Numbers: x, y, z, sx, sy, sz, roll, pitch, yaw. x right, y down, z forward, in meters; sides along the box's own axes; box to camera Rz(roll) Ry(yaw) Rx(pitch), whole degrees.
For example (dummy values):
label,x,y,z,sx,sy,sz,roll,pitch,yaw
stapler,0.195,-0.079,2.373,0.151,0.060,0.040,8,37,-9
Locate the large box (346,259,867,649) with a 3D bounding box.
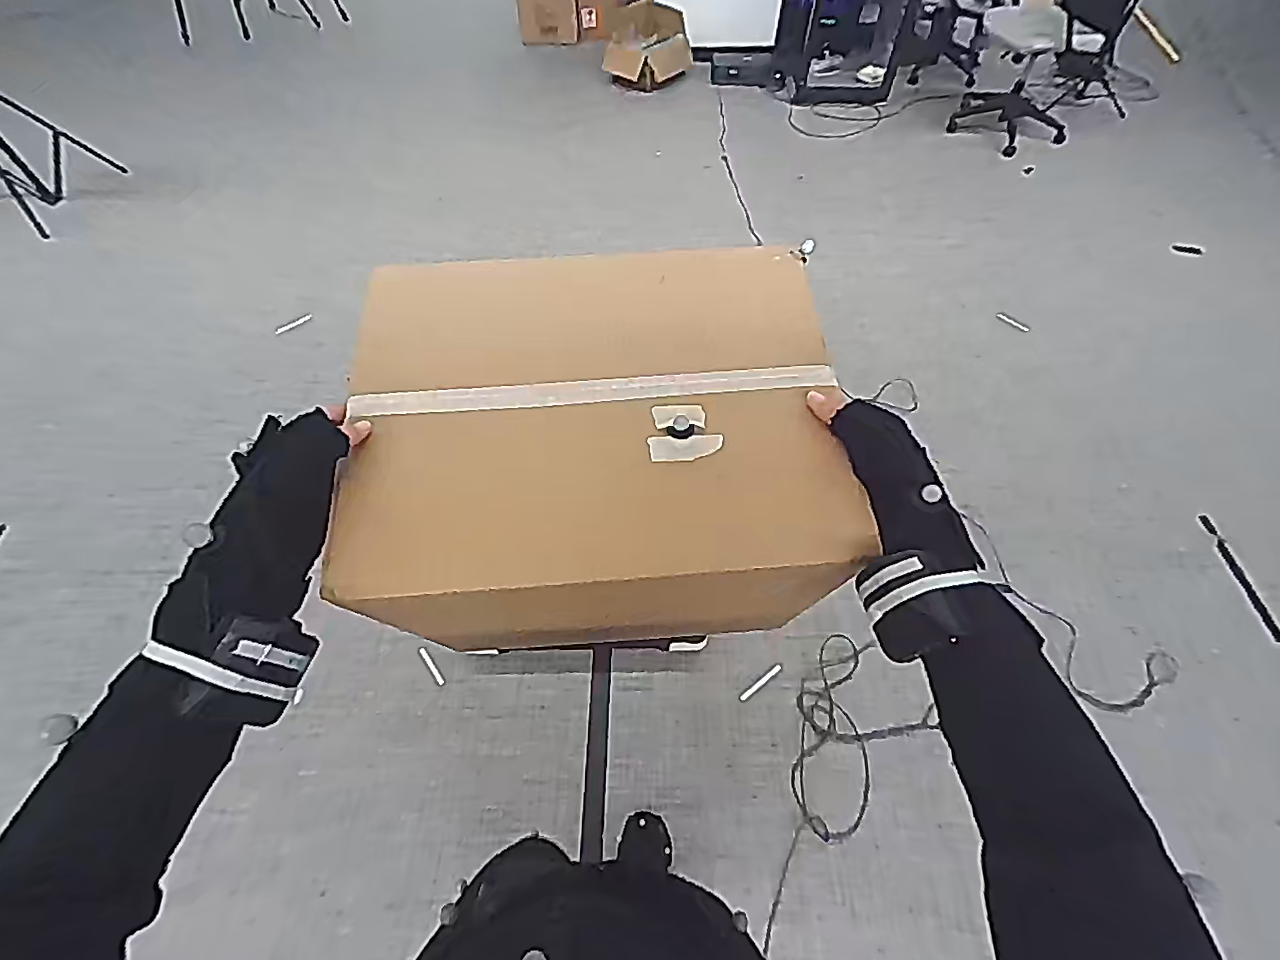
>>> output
label,x,y,z,sx,sy,sz,roll,pitch,yaw
large box,-0.036,-0.006,0.602,0.408,0.320,0.320,-4,66,-2
